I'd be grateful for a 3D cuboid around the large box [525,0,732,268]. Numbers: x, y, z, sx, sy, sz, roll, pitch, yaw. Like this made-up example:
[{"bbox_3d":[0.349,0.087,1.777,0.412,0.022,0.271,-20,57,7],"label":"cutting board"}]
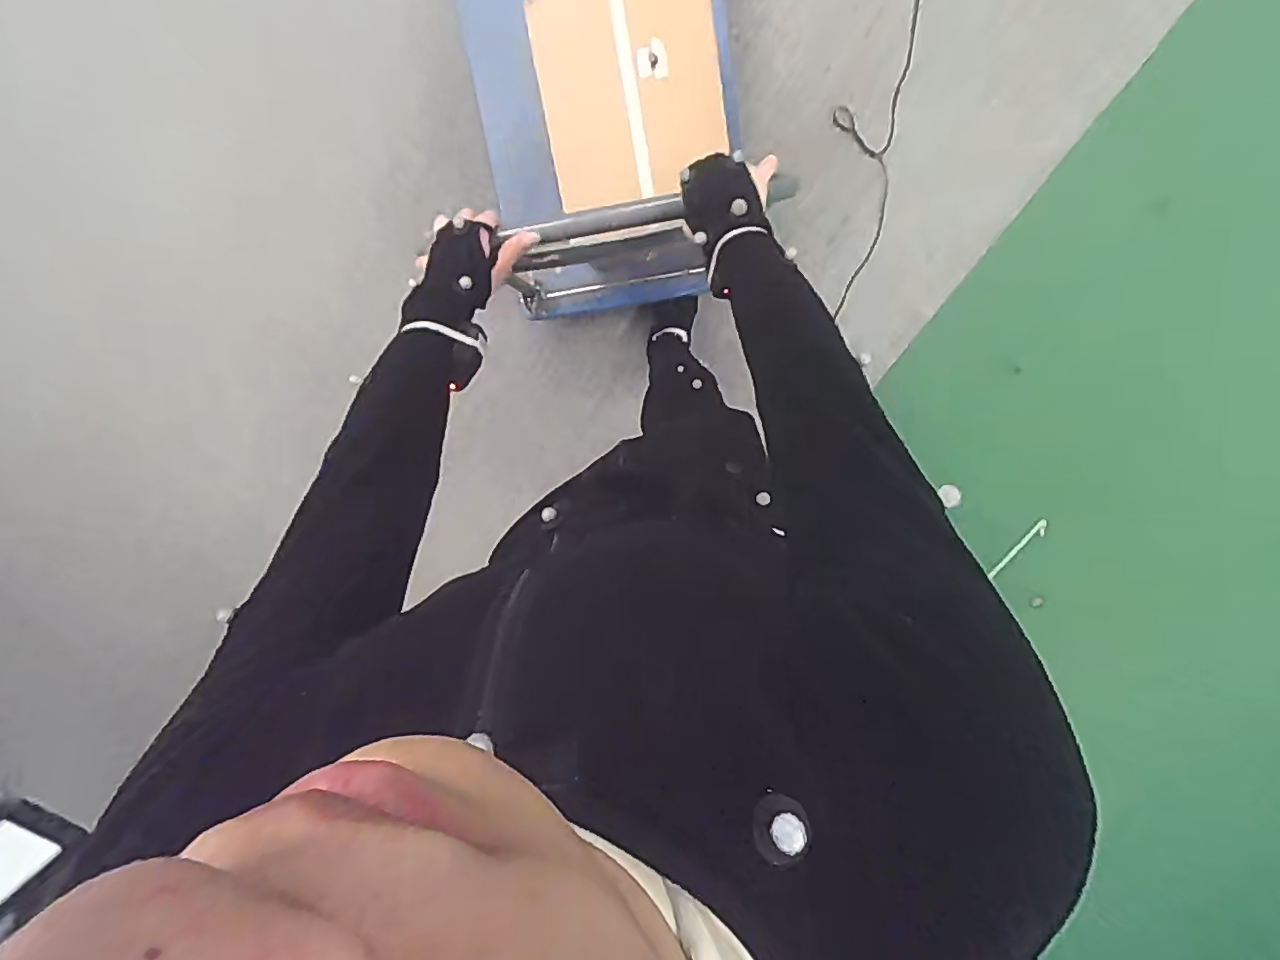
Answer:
[{"bbox_3d":[-0.005,-0.692,1.113,0.320,0.320,0.408,-9,104,5],"label":"large box"}]
